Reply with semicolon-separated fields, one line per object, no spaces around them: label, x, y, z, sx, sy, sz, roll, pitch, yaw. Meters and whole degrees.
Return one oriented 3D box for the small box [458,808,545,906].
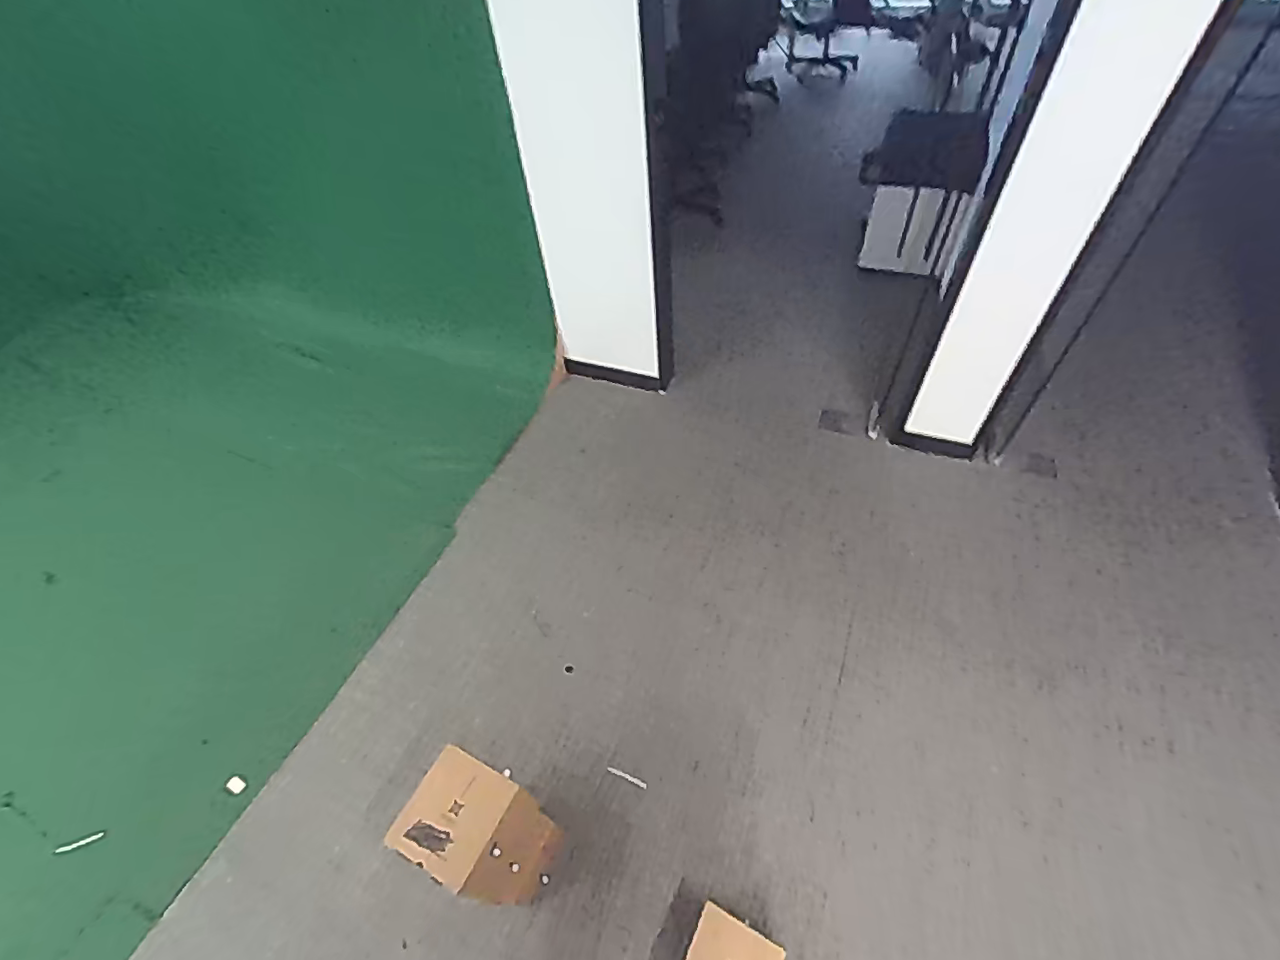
small box;-0.316;0.732;1.108;0.168;0.176;0.179;20;56;21

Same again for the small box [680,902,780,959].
small box;0.162;0.982;1.063;0.168;0.176;0.179;25;57;27

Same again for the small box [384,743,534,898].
small box;-0.315;0.623;0.985;0.168;0.176;0.179;19;54;20

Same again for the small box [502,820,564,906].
small box;-0.298;0.837;1.233;0.179;0.176;0.168;21;55;21
